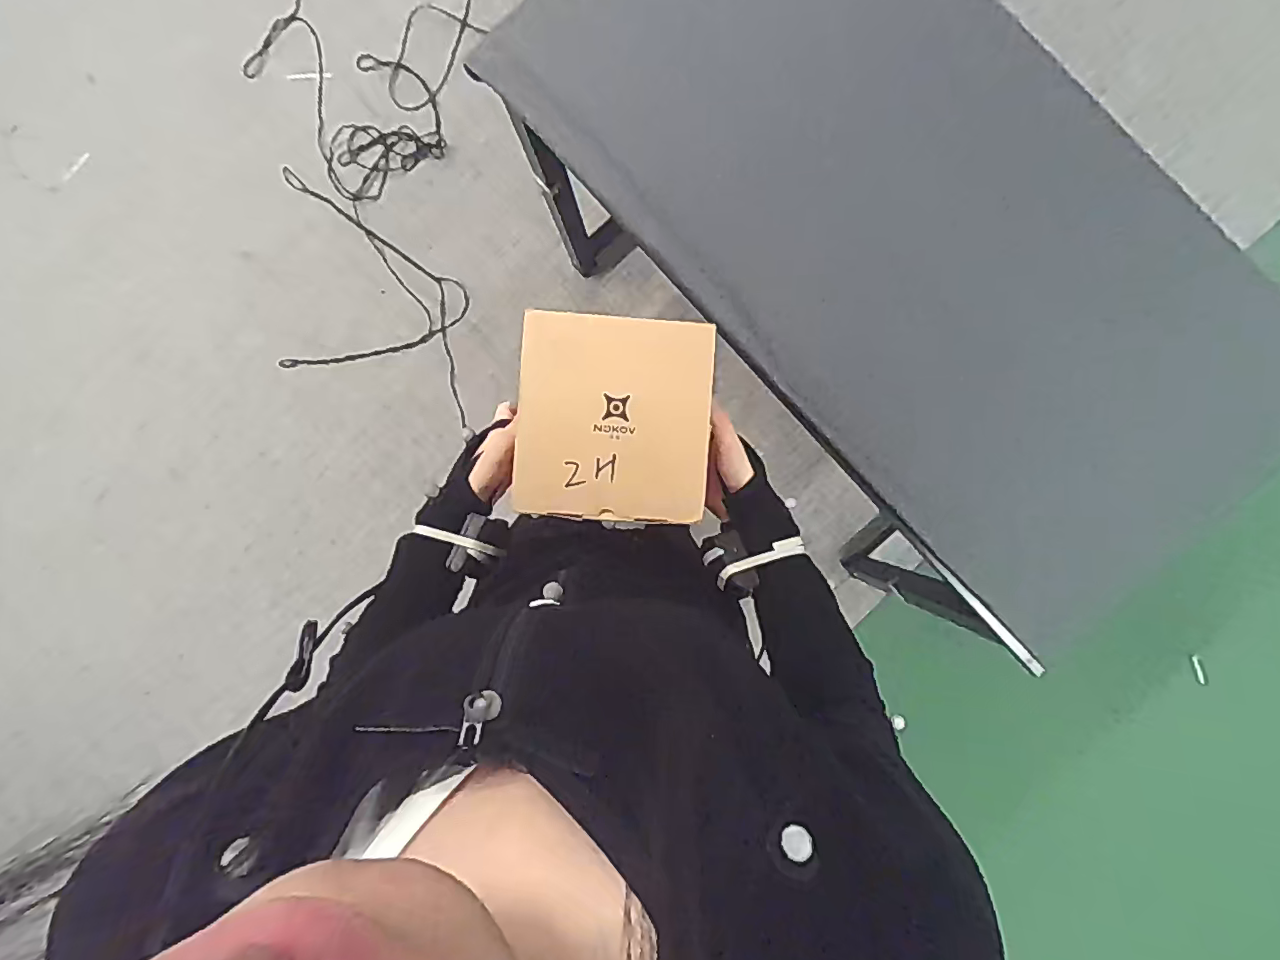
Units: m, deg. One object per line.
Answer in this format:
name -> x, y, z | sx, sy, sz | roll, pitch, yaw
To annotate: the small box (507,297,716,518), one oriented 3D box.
small box -> -0.027, -0.059, 0.532 | 0.168, 0.176, 0.179 | 4, 89, -2
